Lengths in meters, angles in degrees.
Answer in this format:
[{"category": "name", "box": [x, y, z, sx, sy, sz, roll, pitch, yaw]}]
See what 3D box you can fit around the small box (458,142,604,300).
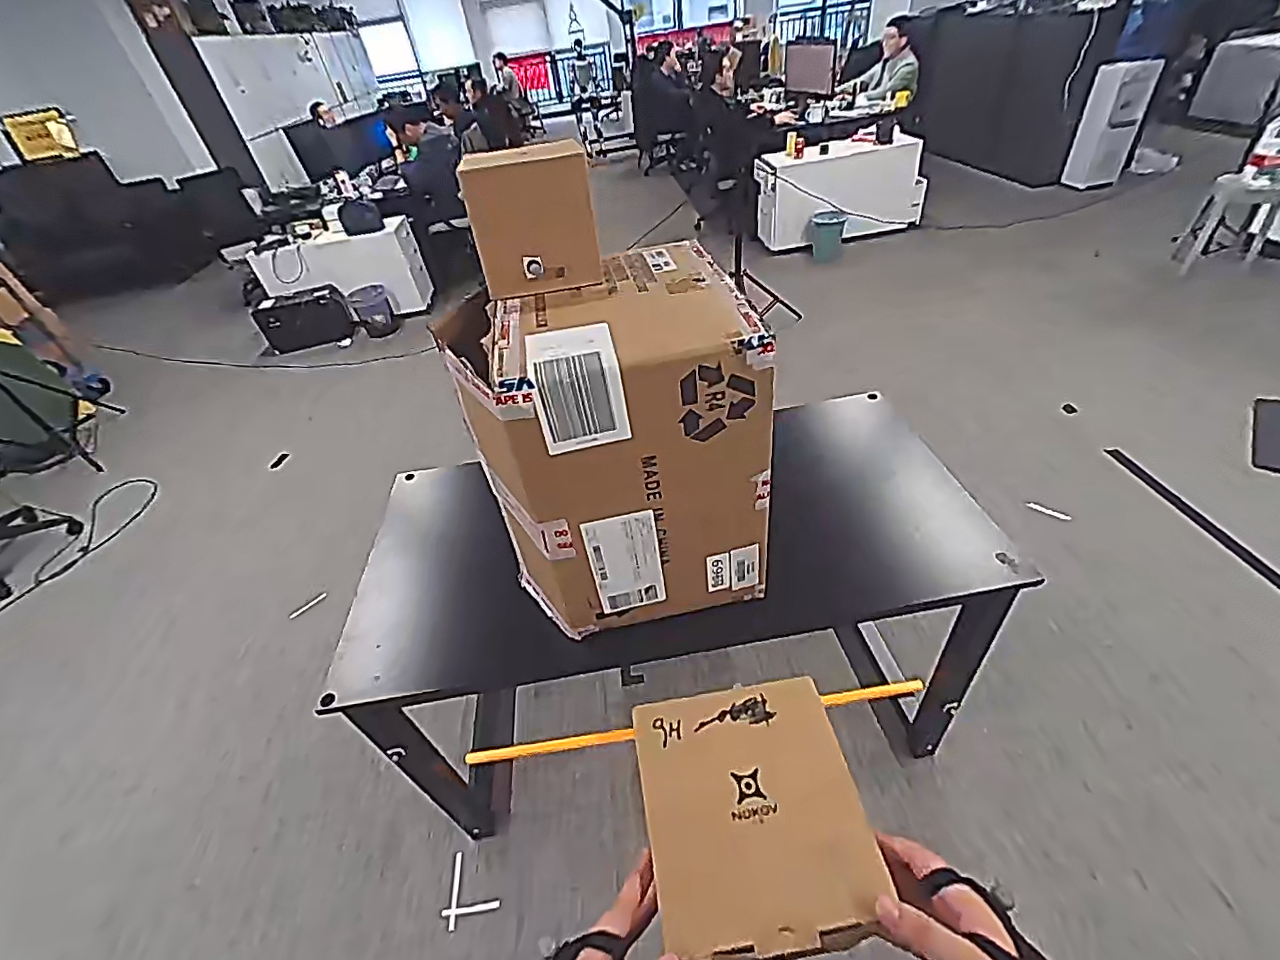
[{"category": "small box", "box": [-0.154, -0.381, 0.794, 0.168, 0.176, 0.179, -13, 39, -5]}]
